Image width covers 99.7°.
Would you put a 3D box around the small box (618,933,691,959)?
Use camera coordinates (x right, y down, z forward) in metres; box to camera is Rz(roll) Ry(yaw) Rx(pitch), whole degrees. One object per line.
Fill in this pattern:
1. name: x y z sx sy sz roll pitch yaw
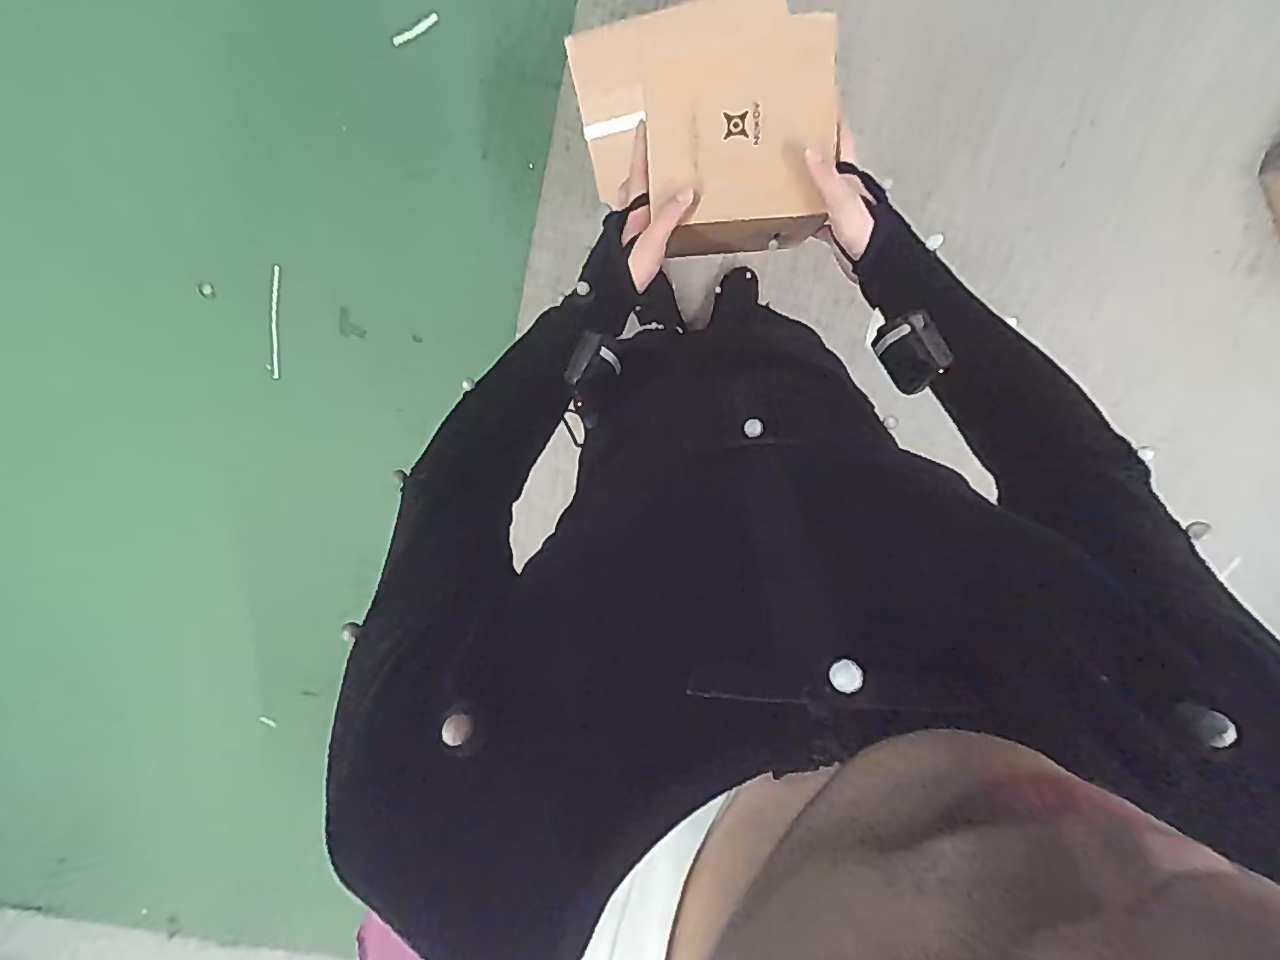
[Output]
1. small box: 0.034 1.370 1.463 0.179 0.176 0.168 14 115 -7

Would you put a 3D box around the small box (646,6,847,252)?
1. small box: 0.099 -0.342 0.562 0.179 0.176 0.168 -2 103 5
